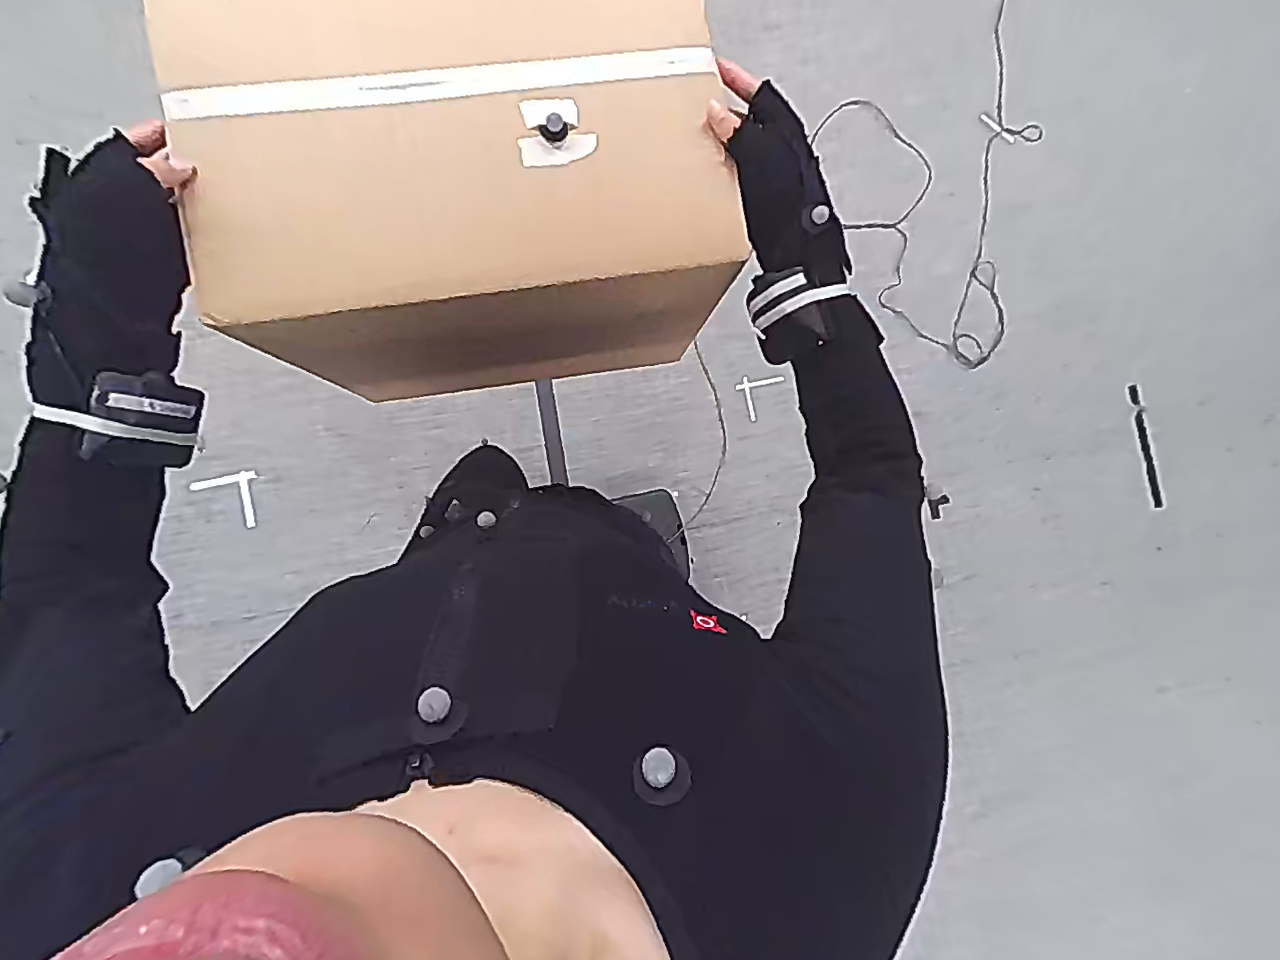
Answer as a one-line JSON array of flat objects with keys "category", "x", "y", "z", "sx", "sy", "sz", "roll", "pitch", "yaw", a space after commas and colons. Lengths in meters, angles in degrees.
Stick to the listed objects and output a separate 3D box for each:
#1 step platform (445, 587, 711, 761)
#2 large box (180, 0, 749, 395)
[{"category": "step platform", "x": -0.157, "y": 0.505, "z": 1.446, "sx": 0.684, "sy": 0.204, "sz": 0.286, "roll": -13, "pitch": 86, "yaw": -4}, {"category": "large box", "x": -0.148, "y": -0.298, "z": 0.566, "sx": 0.408, "sy": 0.320, "sz": 0.320, "roll": -10, "pitch": 90, "yaw": -7}]
